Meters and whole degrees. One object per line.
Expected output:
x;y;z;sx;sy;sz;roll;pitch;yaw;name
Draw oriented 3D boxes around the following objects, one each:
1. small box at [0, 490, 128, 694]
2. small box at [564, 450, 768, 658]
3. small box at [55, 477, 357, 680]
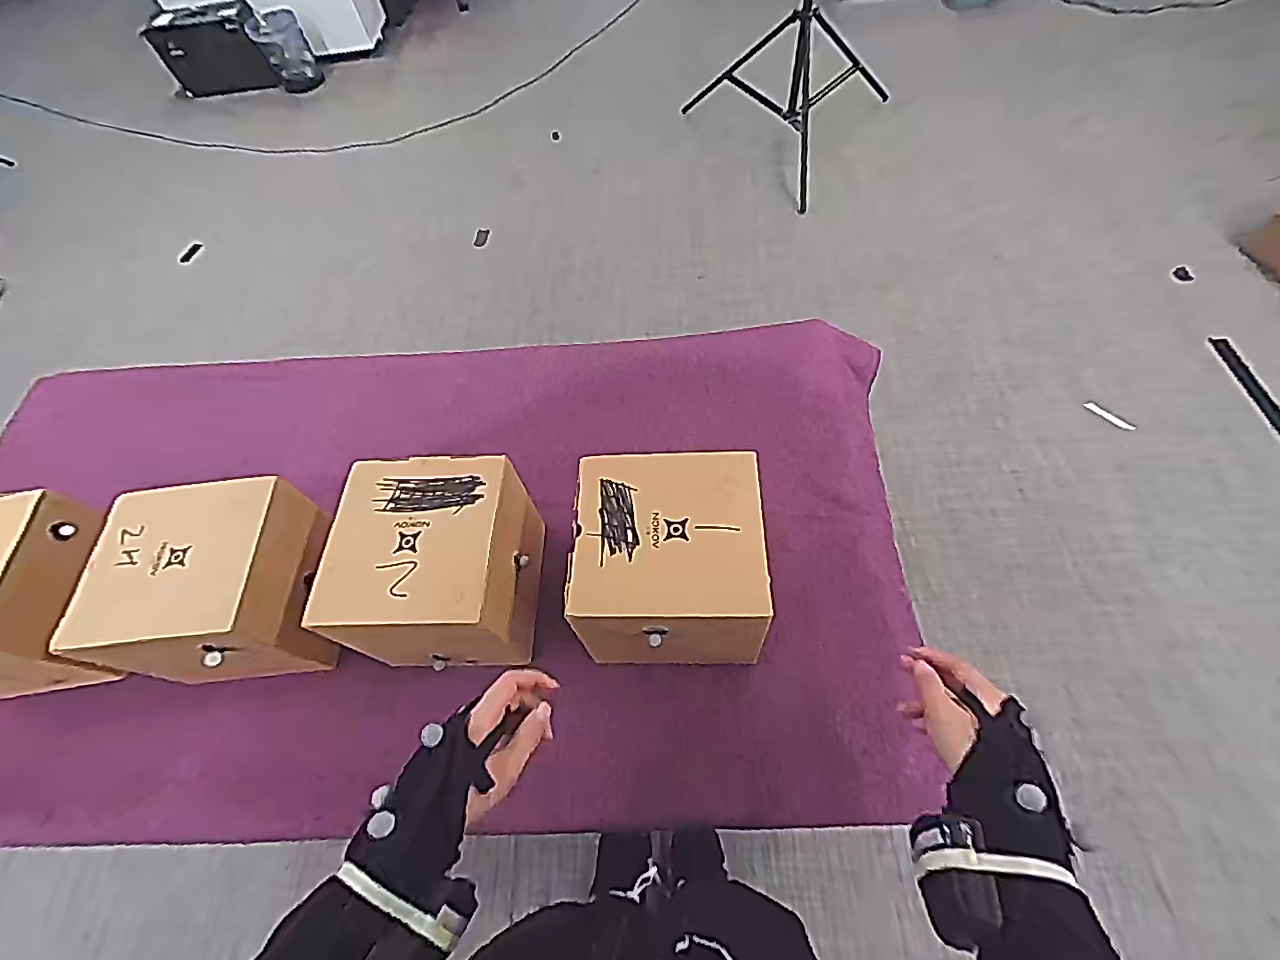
-0.702;0.137;0.615;0.168;0.176;0.179;-10;59;0;small box
0.031;0.083;0.562;0.179;0.176;0.168;0;59;4;small box
-0.447;0.116;0.598;0.179;0.176;0.168;-7;59;2;small box
